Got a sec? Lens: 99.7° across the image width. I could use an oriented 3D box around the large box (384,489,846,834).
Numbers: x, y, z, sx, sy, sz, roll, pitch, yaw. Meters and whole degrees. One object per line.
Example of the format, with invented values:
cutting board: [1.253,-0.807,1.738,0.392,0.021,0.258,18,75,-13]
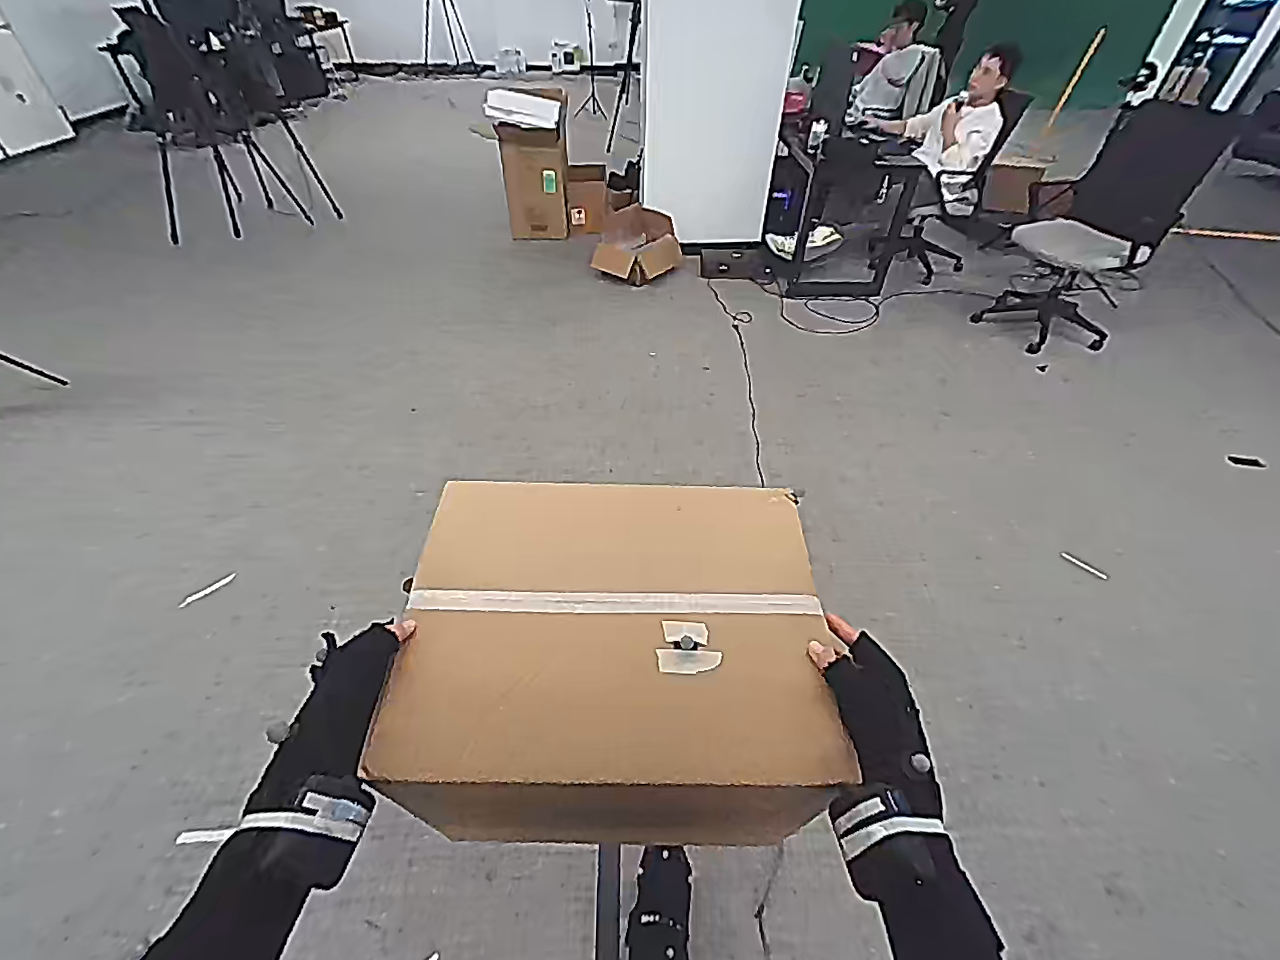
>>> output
large box: [-0.027,0.227,0.665,0.408,0.320,0.320,2,50,-2]
